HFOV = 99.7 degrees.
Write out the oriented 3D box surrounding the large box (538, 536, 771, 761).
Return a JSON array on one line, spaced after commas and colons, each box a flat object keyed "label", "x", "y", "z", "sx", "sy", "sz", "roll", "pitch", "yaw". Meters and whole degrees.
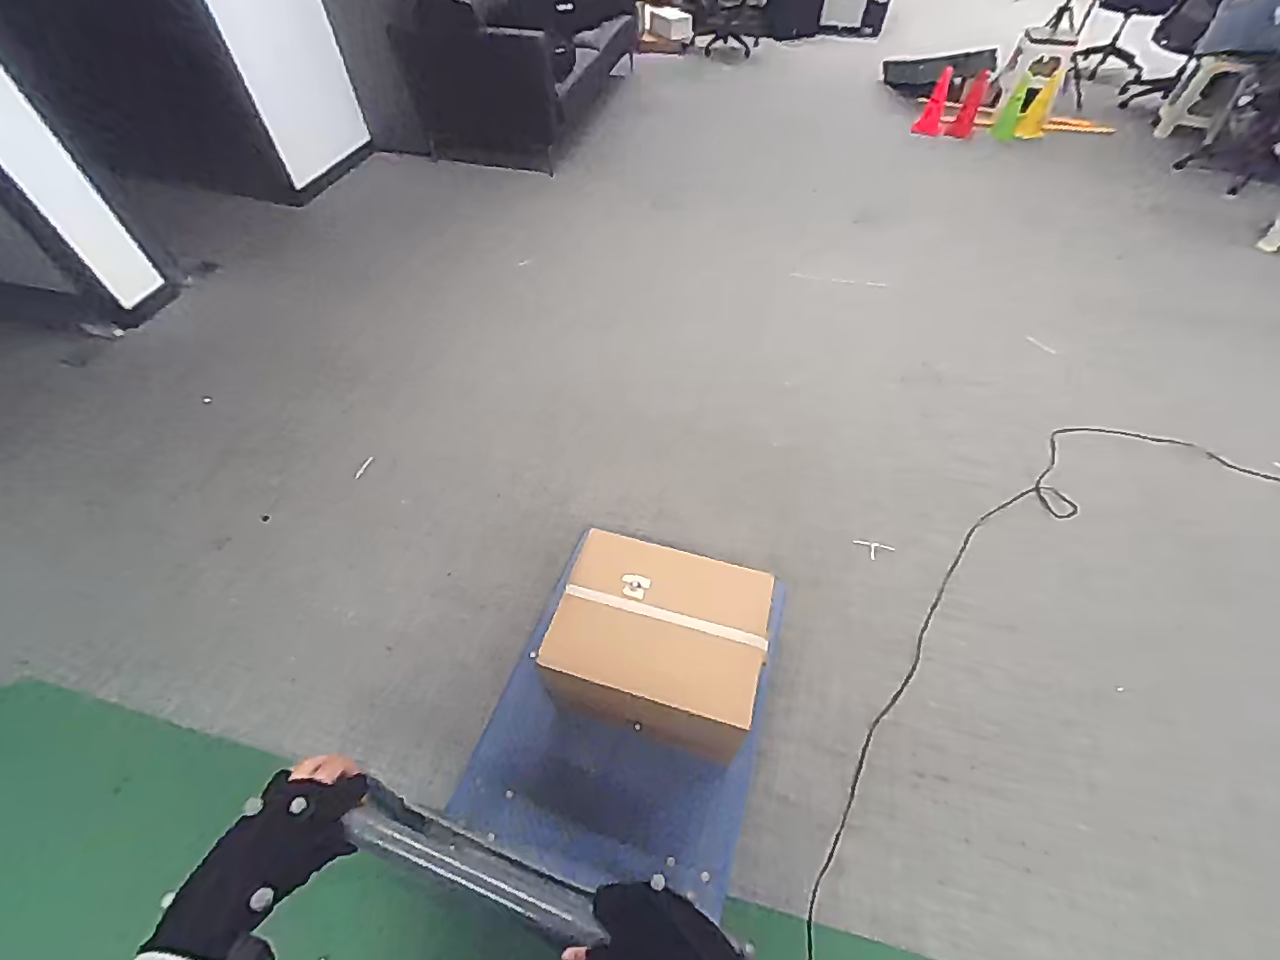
[{"label": "large box", "x": 0.046, "y": 0.366, "z": 1.172, "sx": 0.408, "sy": 0.320, "sz": 0.320, "roll": 12, "pitch": 52, "yaw": 11}]
